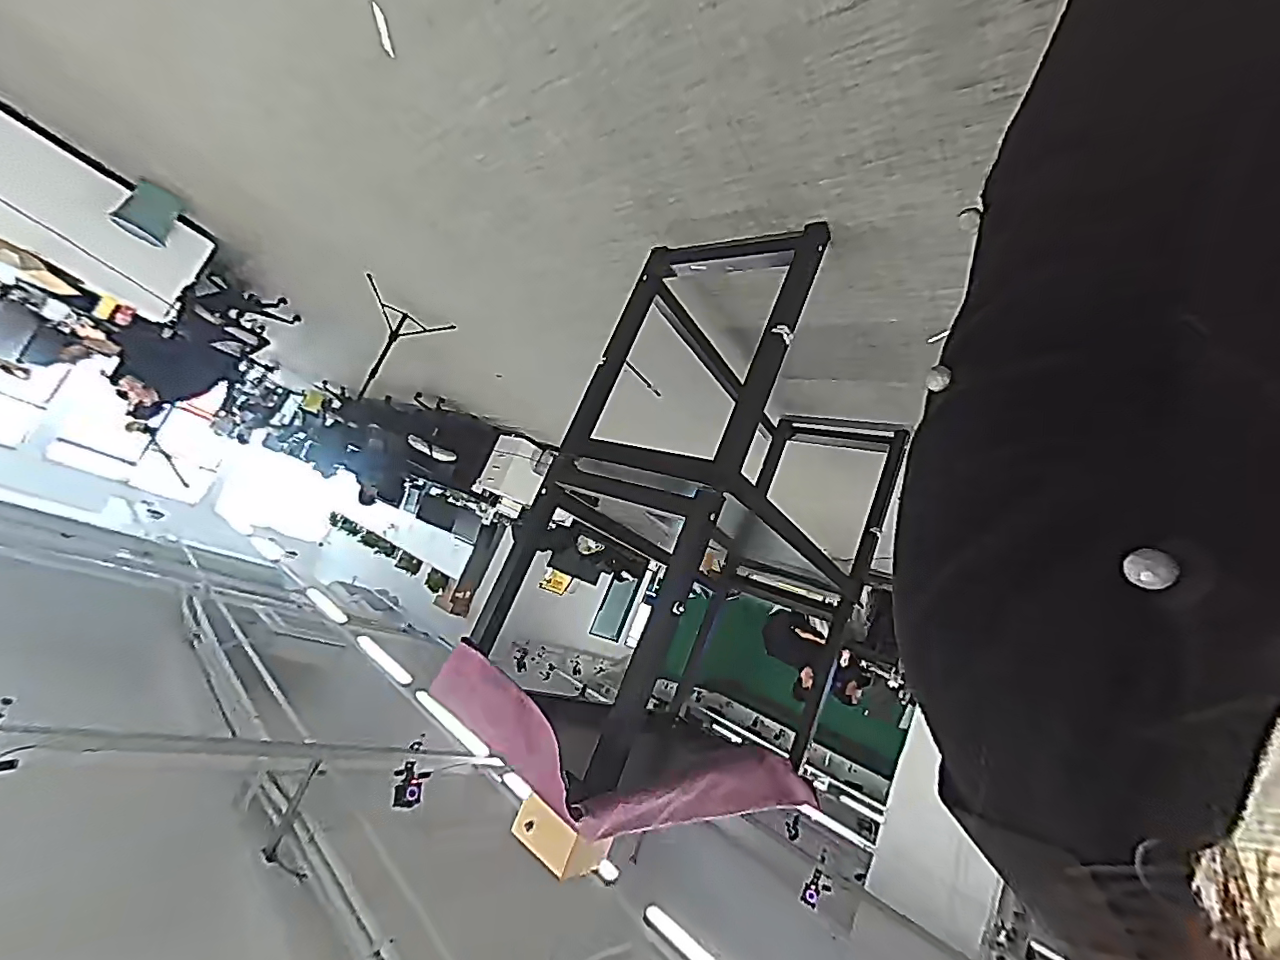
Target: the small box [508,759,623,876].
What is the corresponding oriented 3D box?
[{"bbox_3d":[-0.172,0.787,1.287,0.179,0.176,0.168,15,167,37],"label":"small box"}]
